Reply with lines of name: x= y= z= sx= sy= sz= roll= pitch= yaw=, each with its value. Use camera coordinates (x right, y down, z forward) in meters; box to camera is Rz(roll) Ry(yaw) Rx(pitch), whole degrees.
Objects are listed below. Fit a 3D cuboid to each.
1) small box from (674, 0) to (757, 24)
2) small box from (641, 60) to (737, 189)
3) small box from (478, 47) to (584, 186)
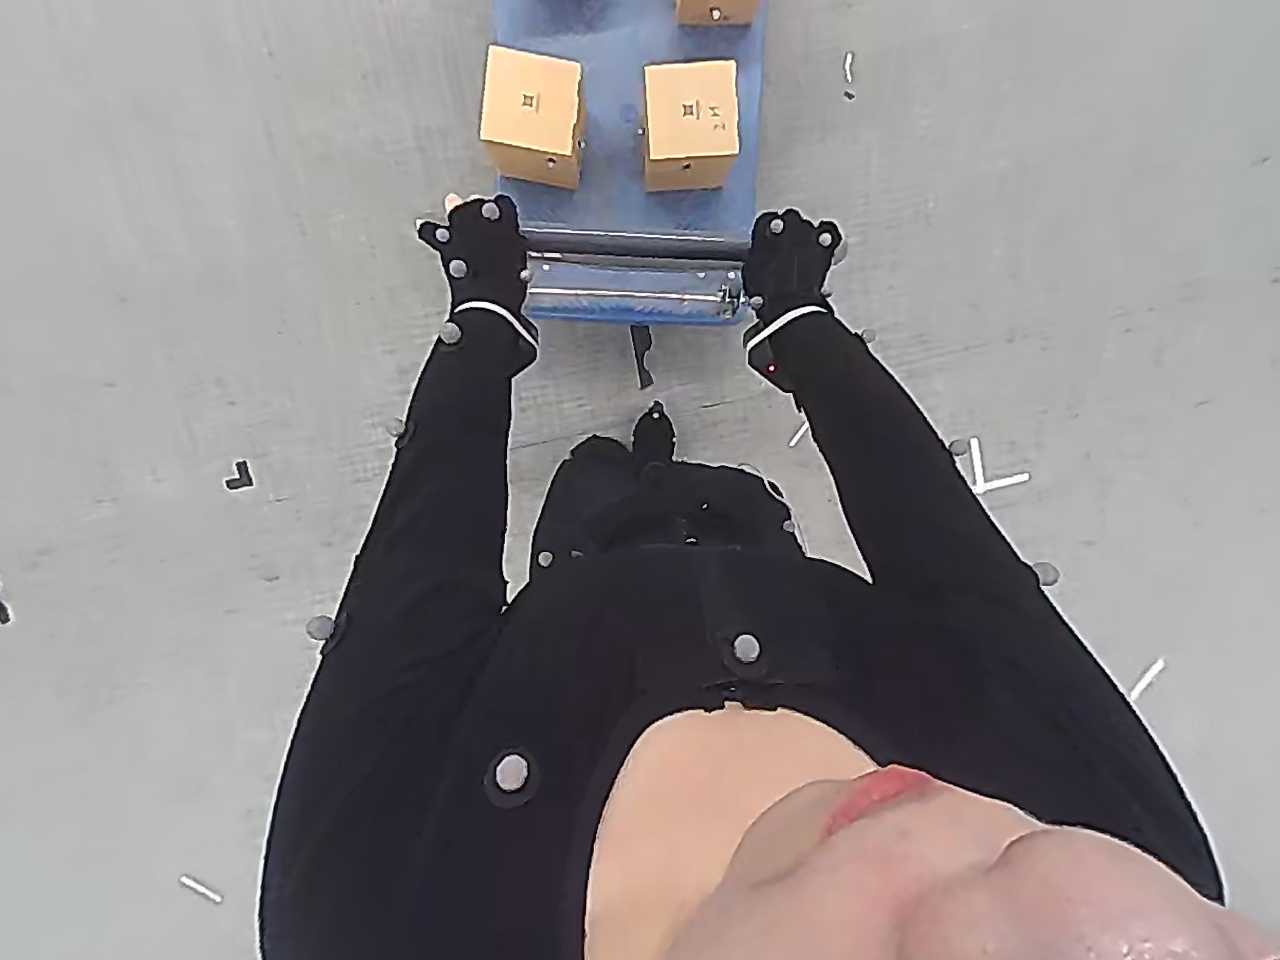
small box: x=0.153 y=-1.040 z=1.051 sx=0.168 sy=0.176 sz=0.179 roll=-3 pitch=100 yaw=-2
small box: x=0.093 y=-0.711 z=1.101 sx=0.179 sy=0.176 sz=0.168 roll=-5 pitch=99 yaw=-1
small box: x=-0.212 y=-0.717 z=1.088 sx=0.179 sy=0.176 sz=0.168 roll=7 pitch=98 yaw=-5
